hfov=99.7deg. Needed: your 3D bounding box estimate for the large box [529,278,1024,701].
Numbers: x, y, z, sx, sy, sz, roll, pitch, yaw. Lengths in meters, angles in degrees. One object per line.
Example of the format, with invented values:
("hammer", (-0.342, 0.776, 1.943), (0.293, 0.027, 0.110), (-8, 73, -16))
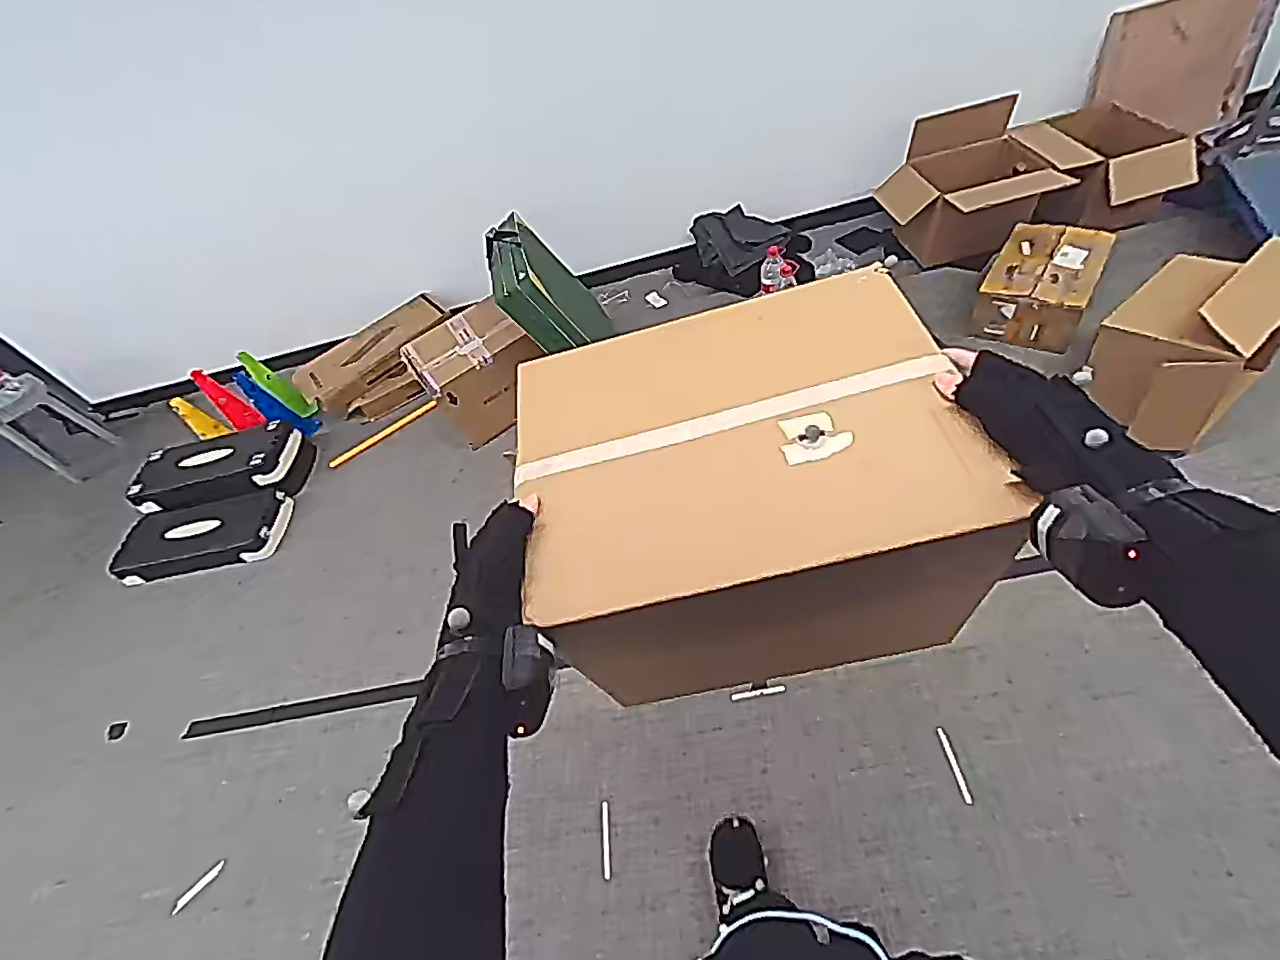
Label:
("large box", (0.115, 0.031, 0.637), (0.408, 0.320, 0.320), (-14, 55, 5))
